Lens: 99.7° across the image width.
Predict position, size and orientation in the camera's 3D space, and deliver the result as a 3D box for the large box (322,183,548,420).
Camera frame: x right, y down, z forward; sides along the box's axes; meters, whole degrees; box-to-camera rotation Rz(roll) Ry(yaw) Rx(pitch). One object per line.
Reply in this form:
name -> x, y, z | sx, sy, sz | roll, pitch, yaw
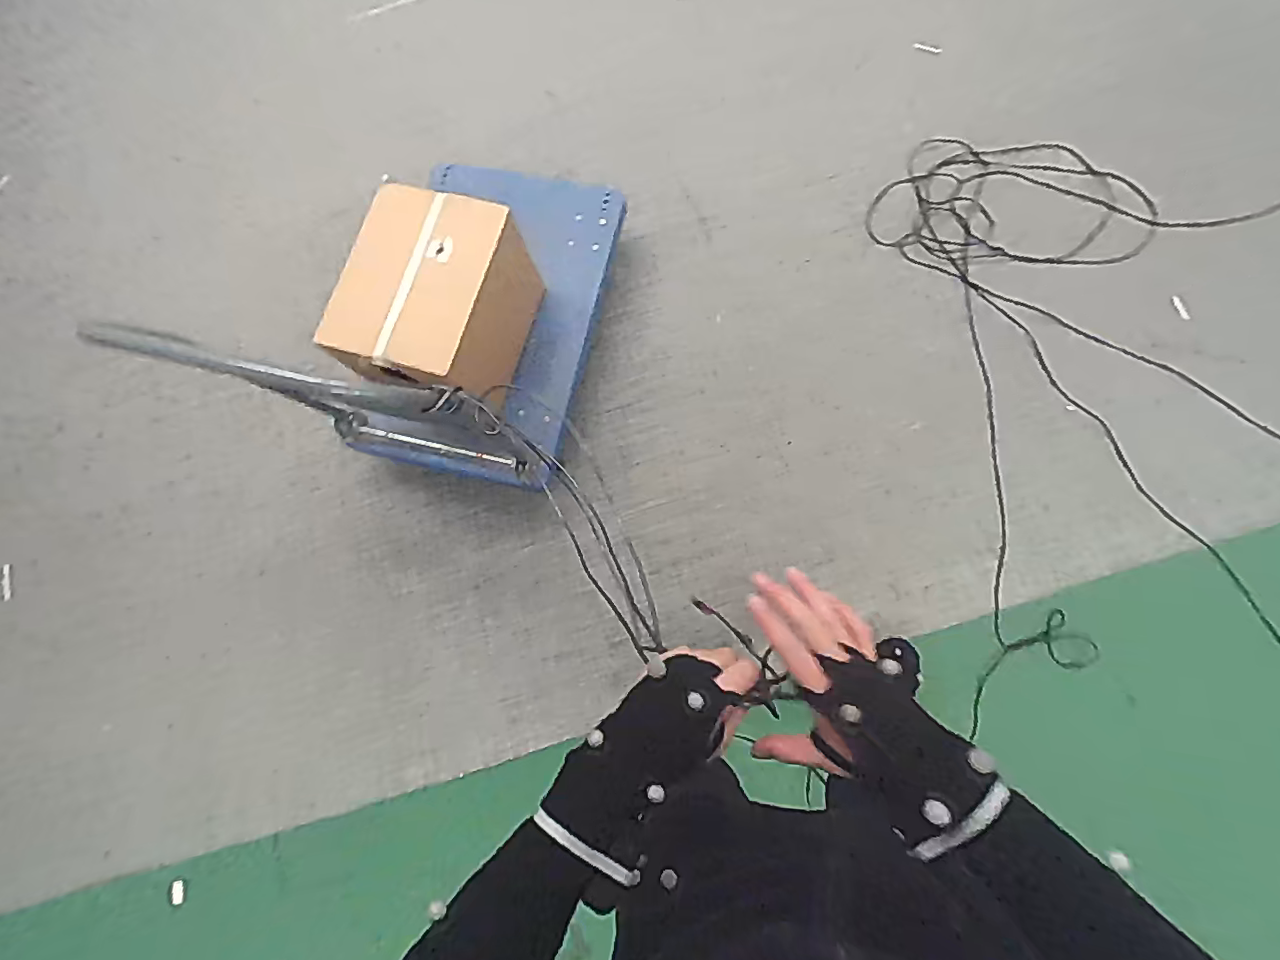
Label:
large box -> -0.453, -0.403, 1.285 | 0.320, 0.320, 0.408 | 16, 79, 7
